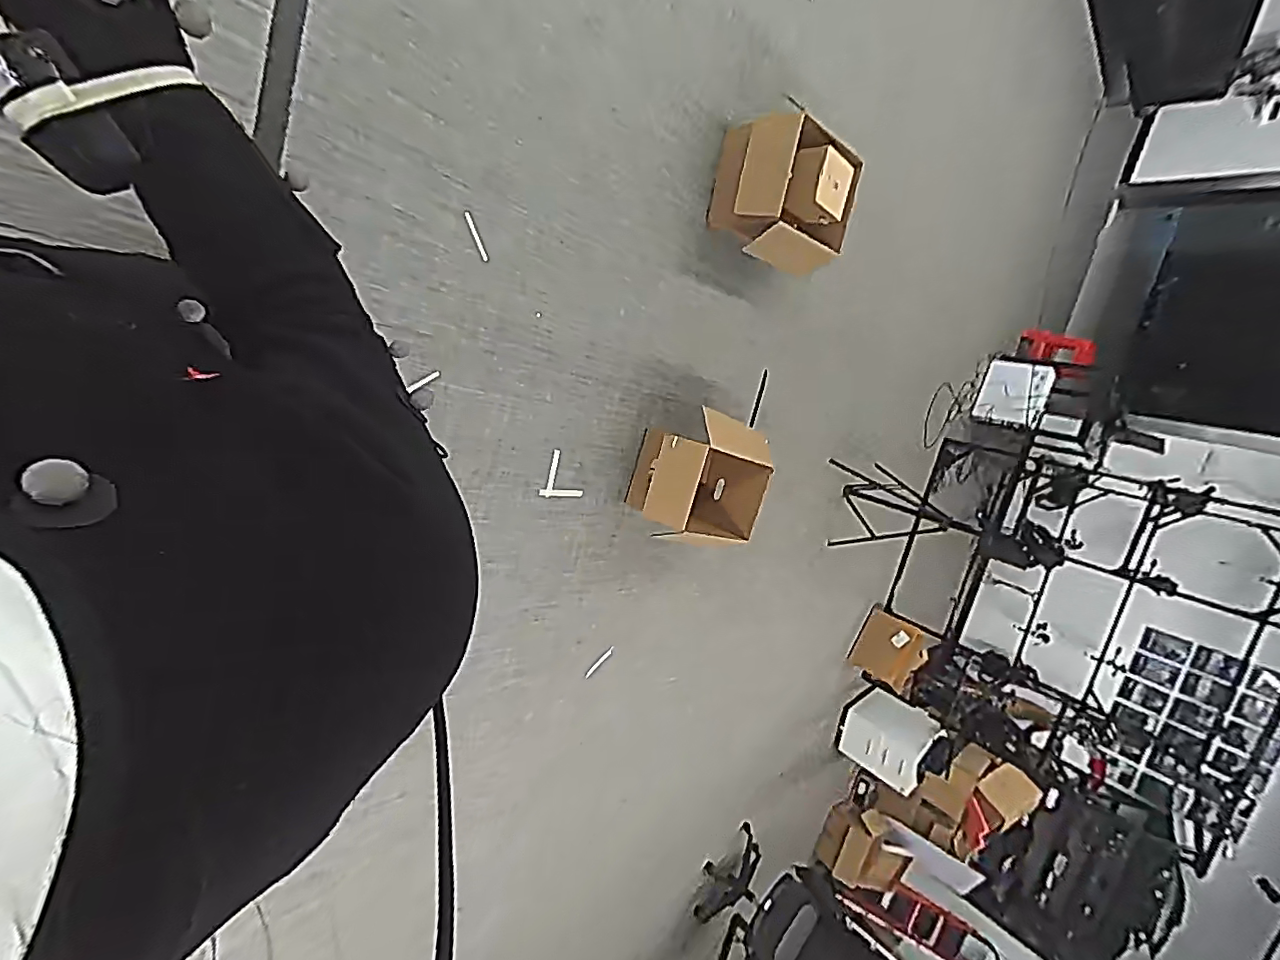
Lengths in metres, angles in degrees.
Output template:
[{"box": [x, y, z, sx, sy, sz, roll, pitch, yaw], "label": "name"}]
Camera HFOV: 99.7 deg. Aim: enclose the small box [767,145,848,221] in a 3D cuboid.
[{"box": [0.553, -0.975, 1.790, 0.179, 0.176, 0.168, 4, 103, -44], "label": "small box"}]
